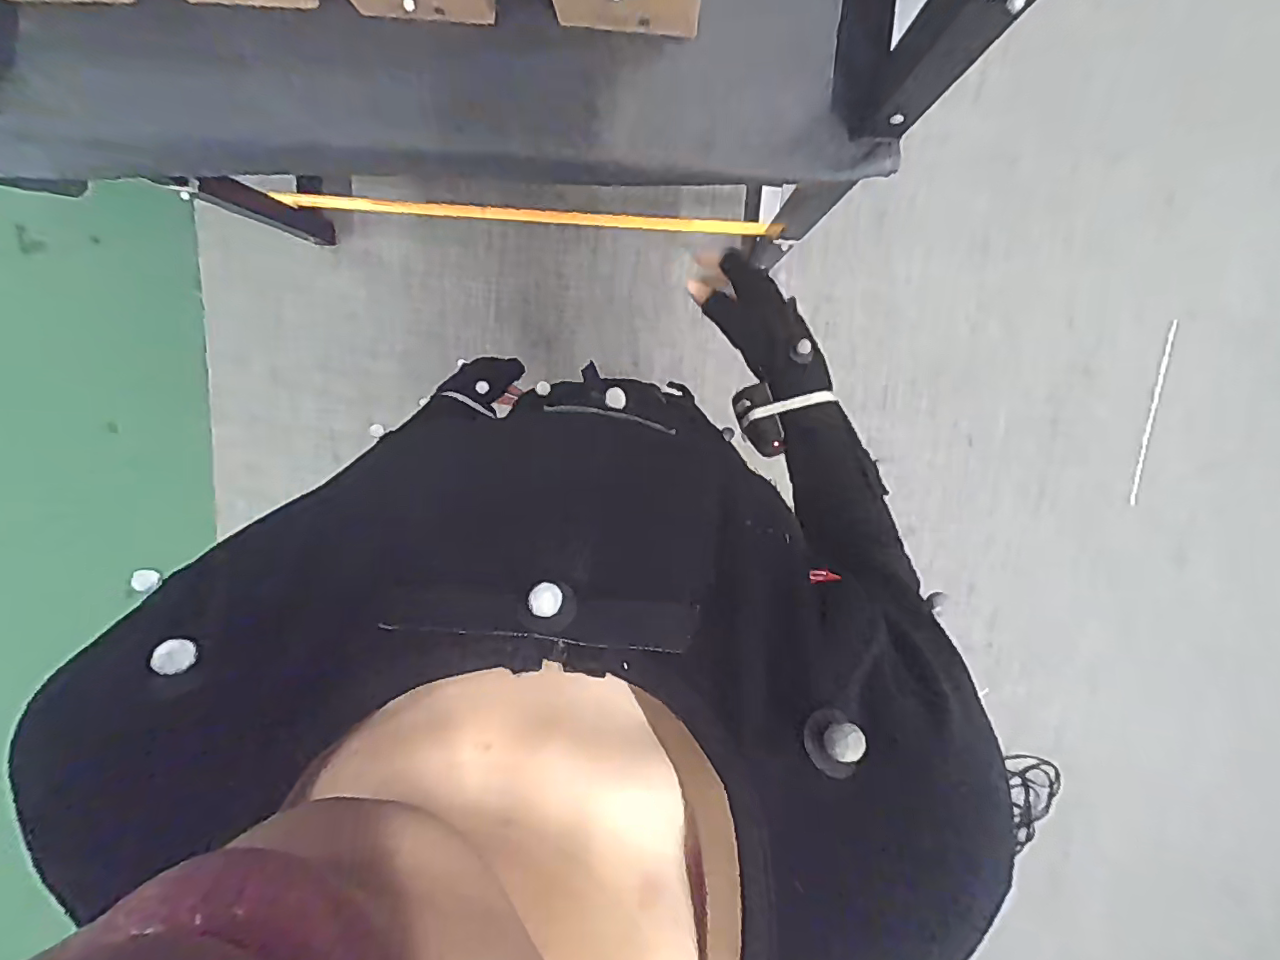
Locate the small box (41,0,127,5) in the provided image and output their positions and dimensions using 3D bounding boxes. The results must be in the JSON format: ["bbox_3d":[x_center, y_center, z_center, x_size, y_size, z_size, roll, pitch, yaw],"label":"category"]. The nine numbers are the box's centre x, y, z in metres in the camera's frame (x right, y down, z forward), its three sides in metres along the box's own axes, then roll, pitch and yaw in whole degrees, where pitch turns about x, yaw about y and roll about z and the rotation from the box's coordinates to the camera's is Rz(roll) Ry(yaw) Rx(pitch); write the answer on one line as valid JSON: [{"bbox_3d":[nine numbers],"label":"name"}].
[{"bbox_3d":[-0.691,-0.654,0.564,0.168,0.176,0.179,2,101,2],"label":"small box"}]

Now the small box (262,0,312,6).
[{"bbox_3d":[-0.464,-0.643,0.560,0.168,0.176,0.179,4,100,1],"label":"small box"}]

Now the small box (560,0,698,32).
[{"bbox_3d":[-0.011,-0.604,0.547,0.168,0.176,0.179,7,100,1],"label":"small box"}]
